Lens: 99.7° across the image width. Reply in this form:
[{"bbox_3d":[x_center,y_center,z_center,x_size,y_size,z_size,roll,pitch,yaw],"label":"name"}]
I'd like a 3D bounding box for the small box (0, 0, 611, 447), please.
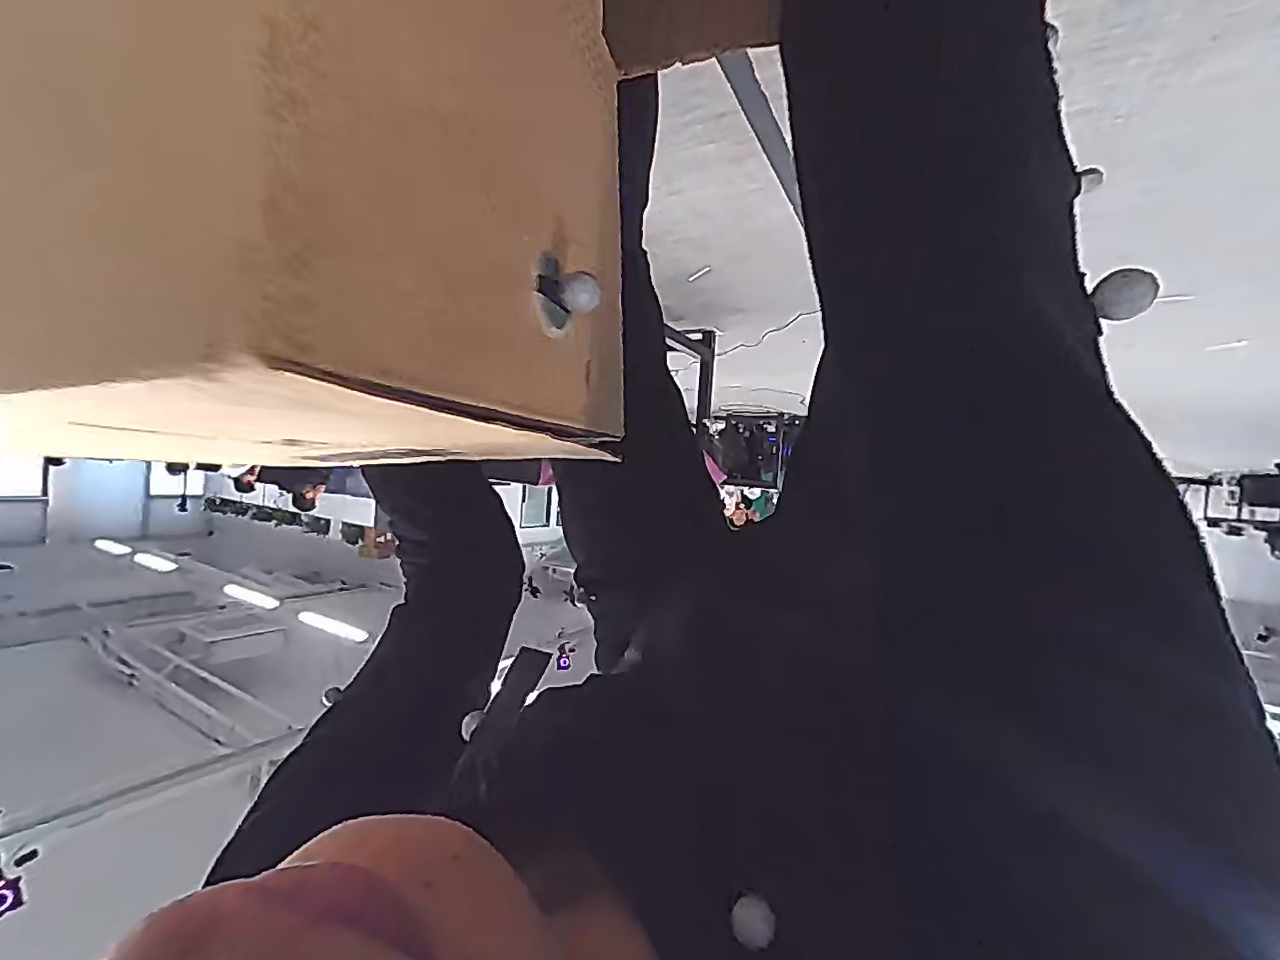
[{"bbox_3d":[-0.111,-0.101,0.176,0.168,0.176,0.179,-1,180,15],"label":"small box"}]
